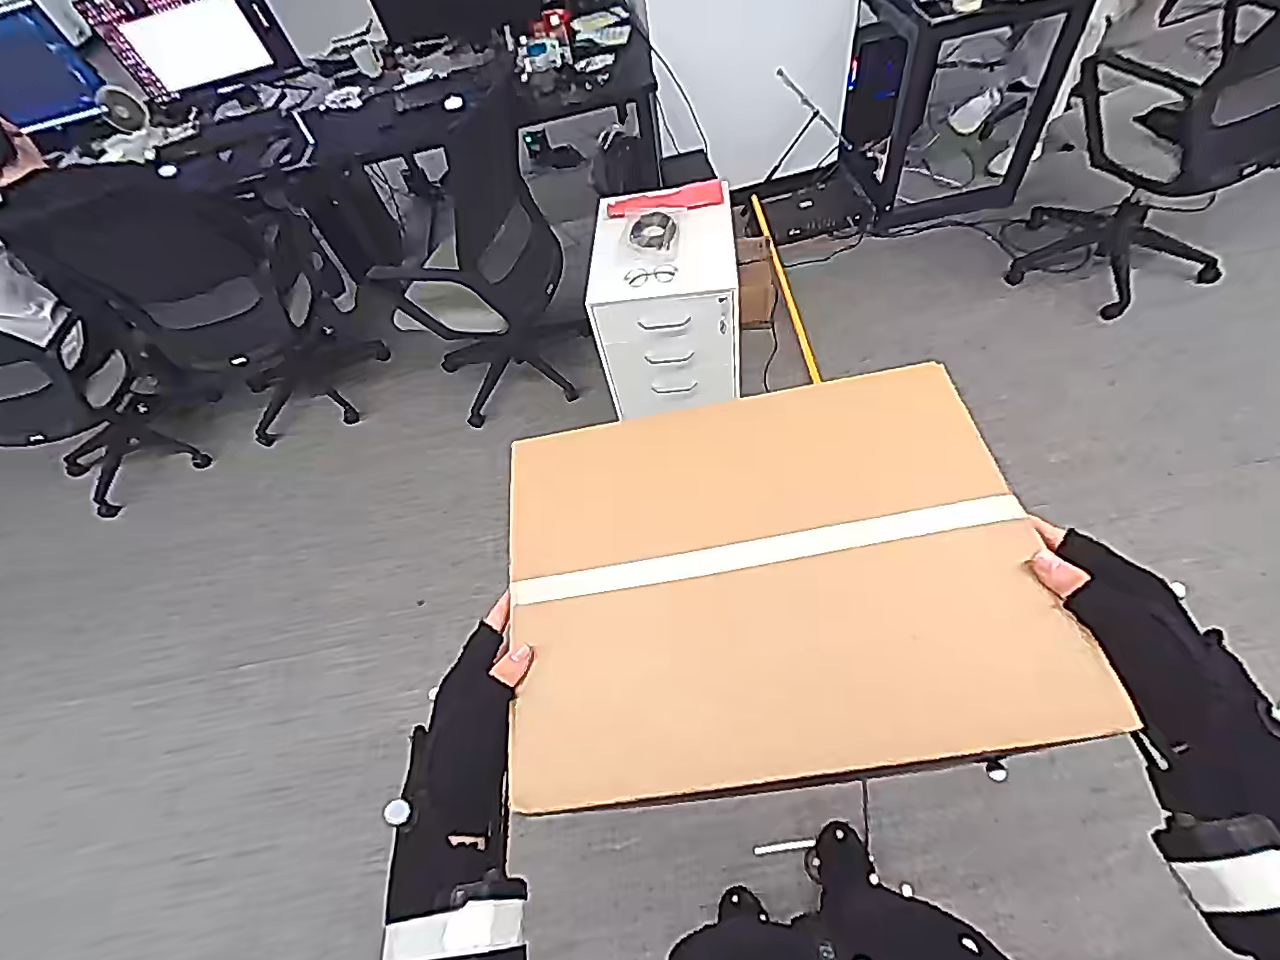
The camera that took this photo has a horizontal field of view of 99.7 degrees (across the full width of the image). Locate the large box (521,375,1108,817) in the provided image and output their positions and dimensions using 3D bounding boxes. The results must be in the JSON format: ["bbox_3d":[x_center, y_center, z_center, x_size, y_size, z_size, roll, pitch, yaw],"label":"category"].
[{"bbox_3d":[0.122,0.142,0.569,0.408,0.320,0.320,-11,57,5],"label":"large box"}]
